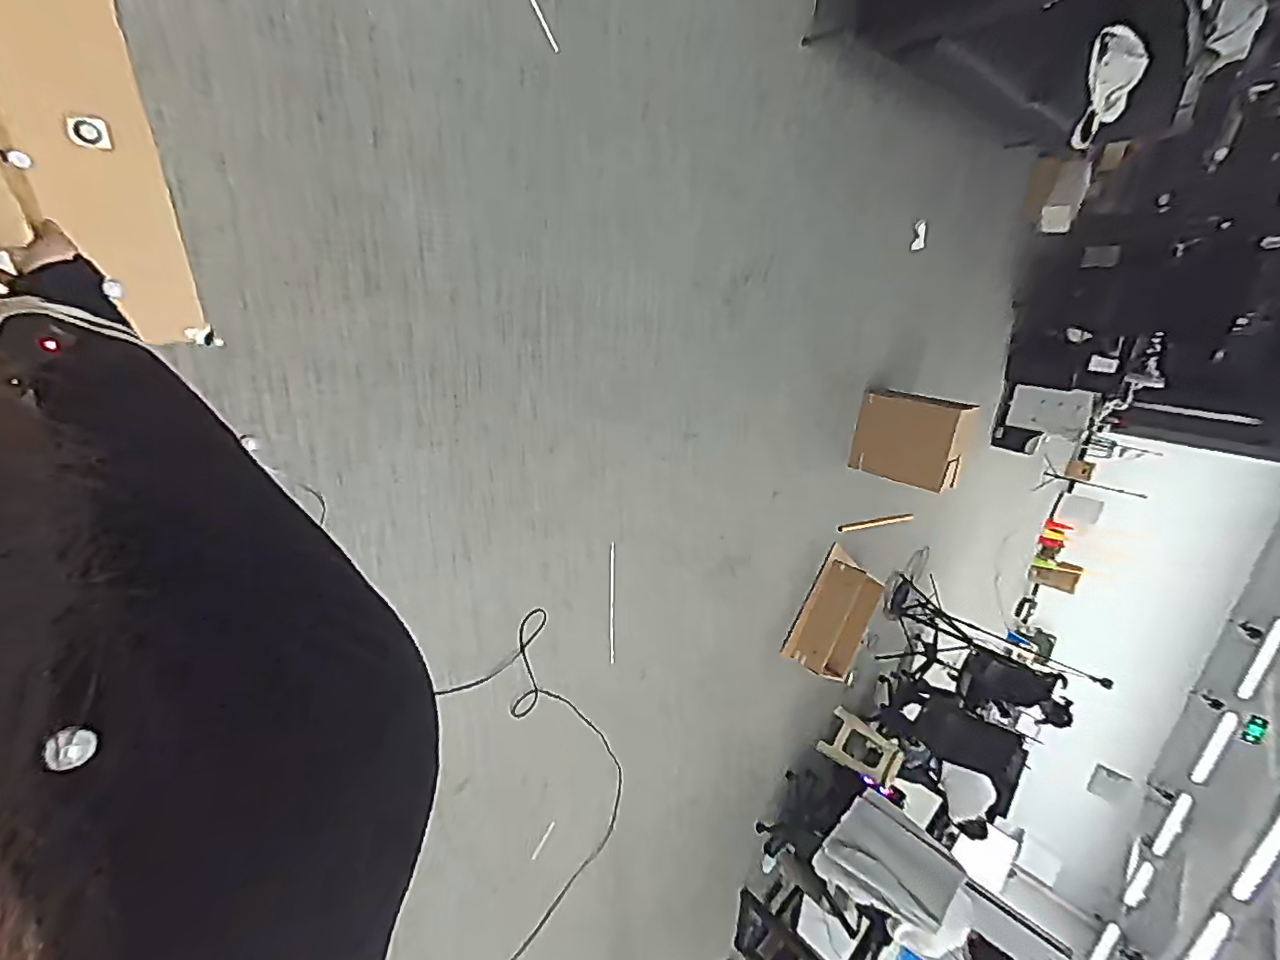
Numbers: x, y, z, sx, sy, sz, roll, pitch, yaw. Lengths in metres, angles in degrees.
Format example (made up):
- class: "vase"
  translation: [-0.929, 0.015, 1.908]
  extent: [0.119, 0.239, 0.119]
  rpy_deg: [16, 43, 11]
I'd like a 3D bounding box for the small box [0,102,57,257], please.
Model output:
- class: "small box"
  translation: [-0.618, -0.273, 0.431]
  extent: [0.168, 0.176, 0.179]
  rpy_deg: [-22, 121, -36]
